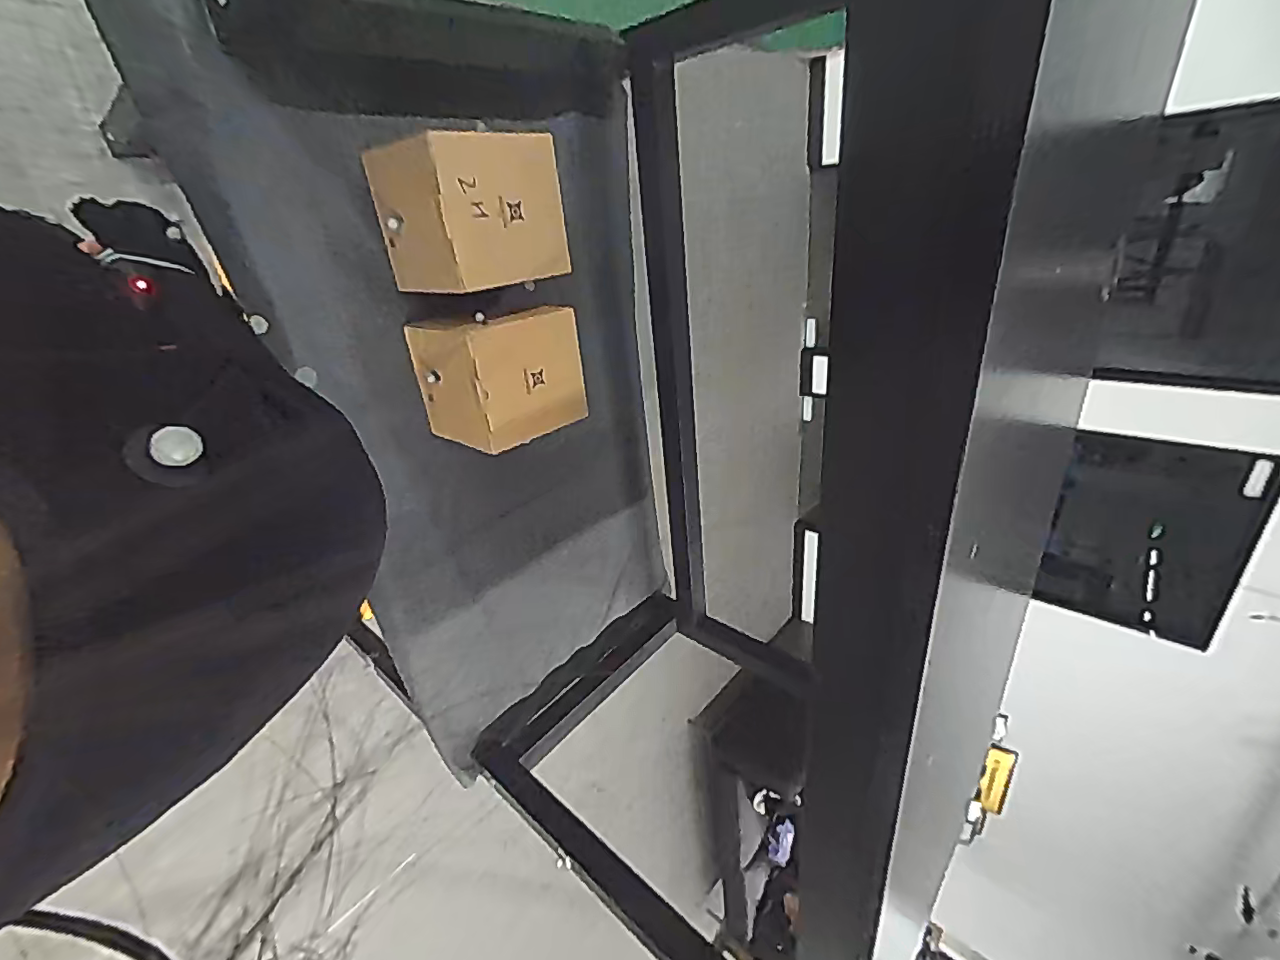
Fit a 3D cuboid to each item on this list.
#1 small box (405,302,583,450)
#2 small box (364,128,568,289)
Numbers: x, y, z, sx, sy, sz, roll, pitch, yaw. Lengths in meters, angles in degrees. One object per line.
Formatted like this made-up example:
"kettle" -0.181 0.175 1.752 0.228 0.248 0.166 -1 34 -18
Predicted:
"small box" -0.211 -0.164 0.800 0.179 0.176 0.168 -30 126 -40
"small box" -0.222 -0.351 0.710 0.179 0.176 0.168 -31 126 -40
